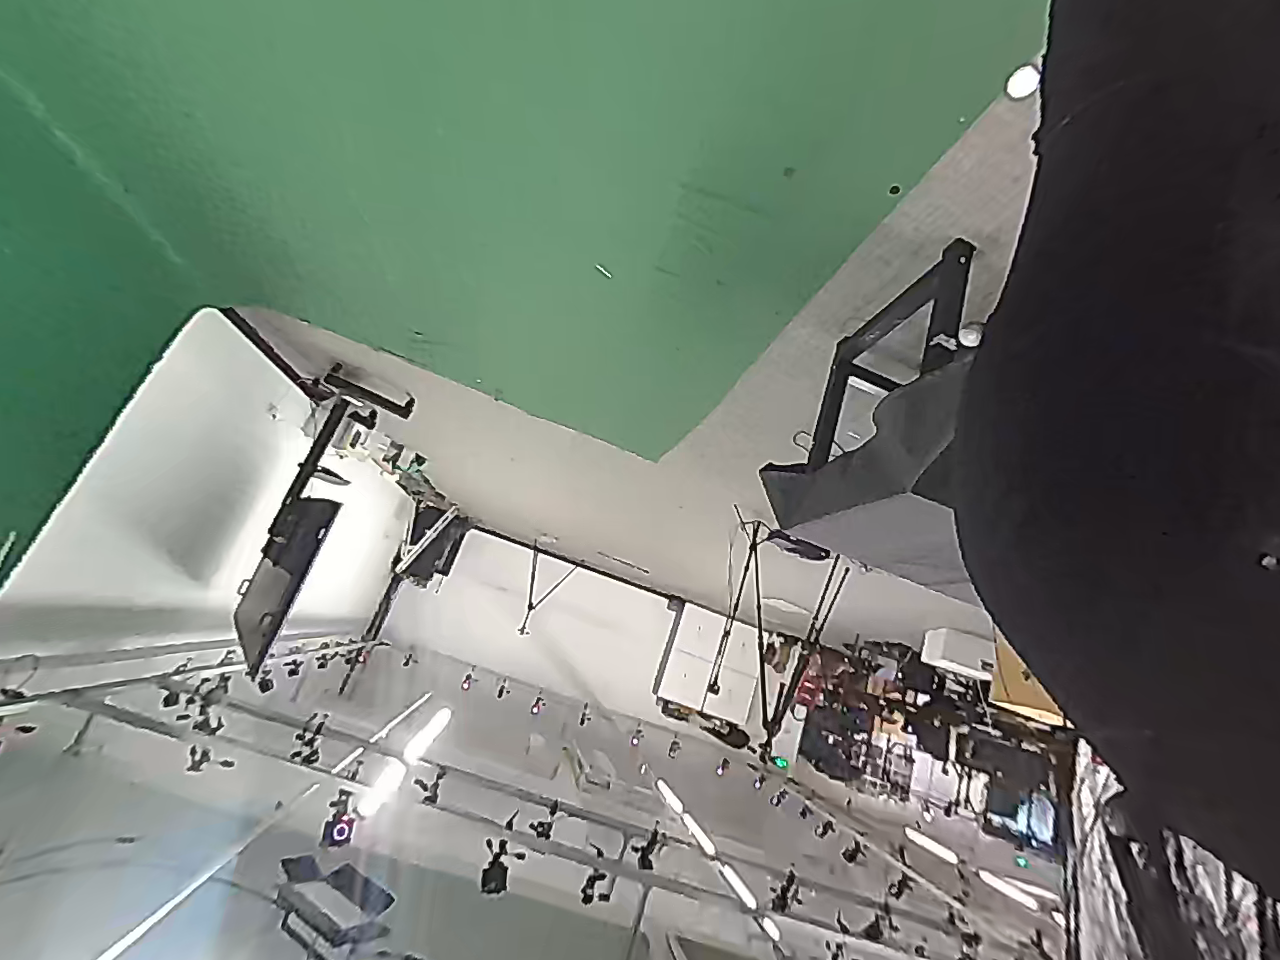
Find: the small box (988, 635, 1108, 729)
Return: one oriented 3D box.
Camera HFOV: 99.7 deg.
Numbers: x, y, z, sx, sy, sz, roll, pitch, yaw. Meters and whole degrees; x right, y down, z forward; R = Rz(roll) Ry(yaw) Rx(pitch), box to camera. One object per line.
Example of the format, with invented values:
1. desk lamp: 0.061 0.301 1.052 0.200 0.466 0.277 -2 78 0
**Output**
1. small box: 1.012 0.494 1.345 0.179 0.176 0.168 21 163 -5
